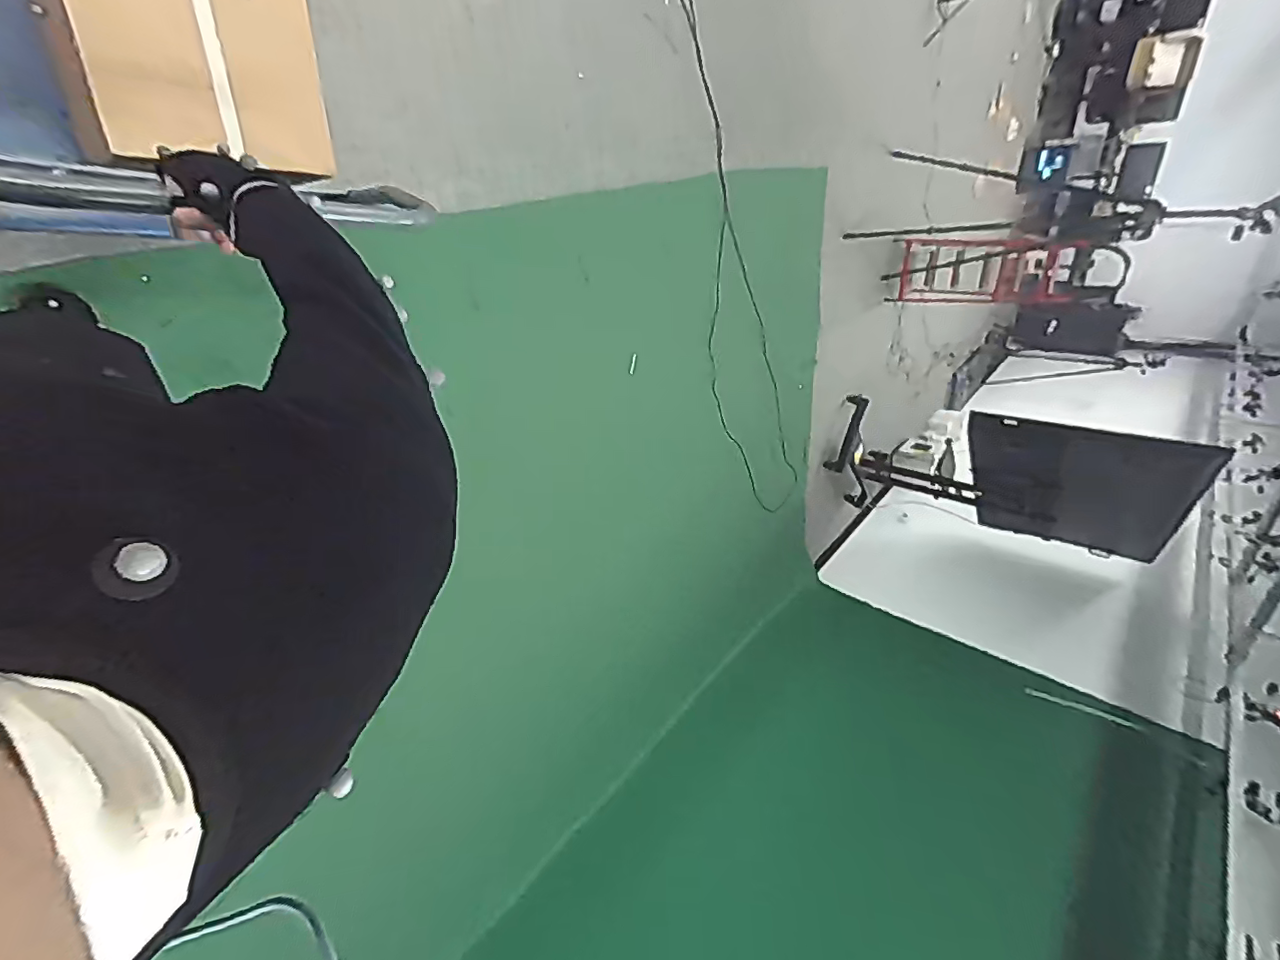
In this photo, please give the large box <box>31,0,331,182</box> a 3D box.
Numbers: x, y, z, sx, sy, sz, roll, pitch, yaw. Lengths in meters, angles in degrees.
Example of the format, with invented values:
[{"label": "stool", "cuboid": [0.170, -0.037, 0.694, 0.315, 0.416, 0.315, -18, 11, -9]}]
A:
[{"label": "large box", "cuboid": [-0.773, -0.741, 0.896, 0.320, 0.320, 0.408, -23, 122, -43]}]
